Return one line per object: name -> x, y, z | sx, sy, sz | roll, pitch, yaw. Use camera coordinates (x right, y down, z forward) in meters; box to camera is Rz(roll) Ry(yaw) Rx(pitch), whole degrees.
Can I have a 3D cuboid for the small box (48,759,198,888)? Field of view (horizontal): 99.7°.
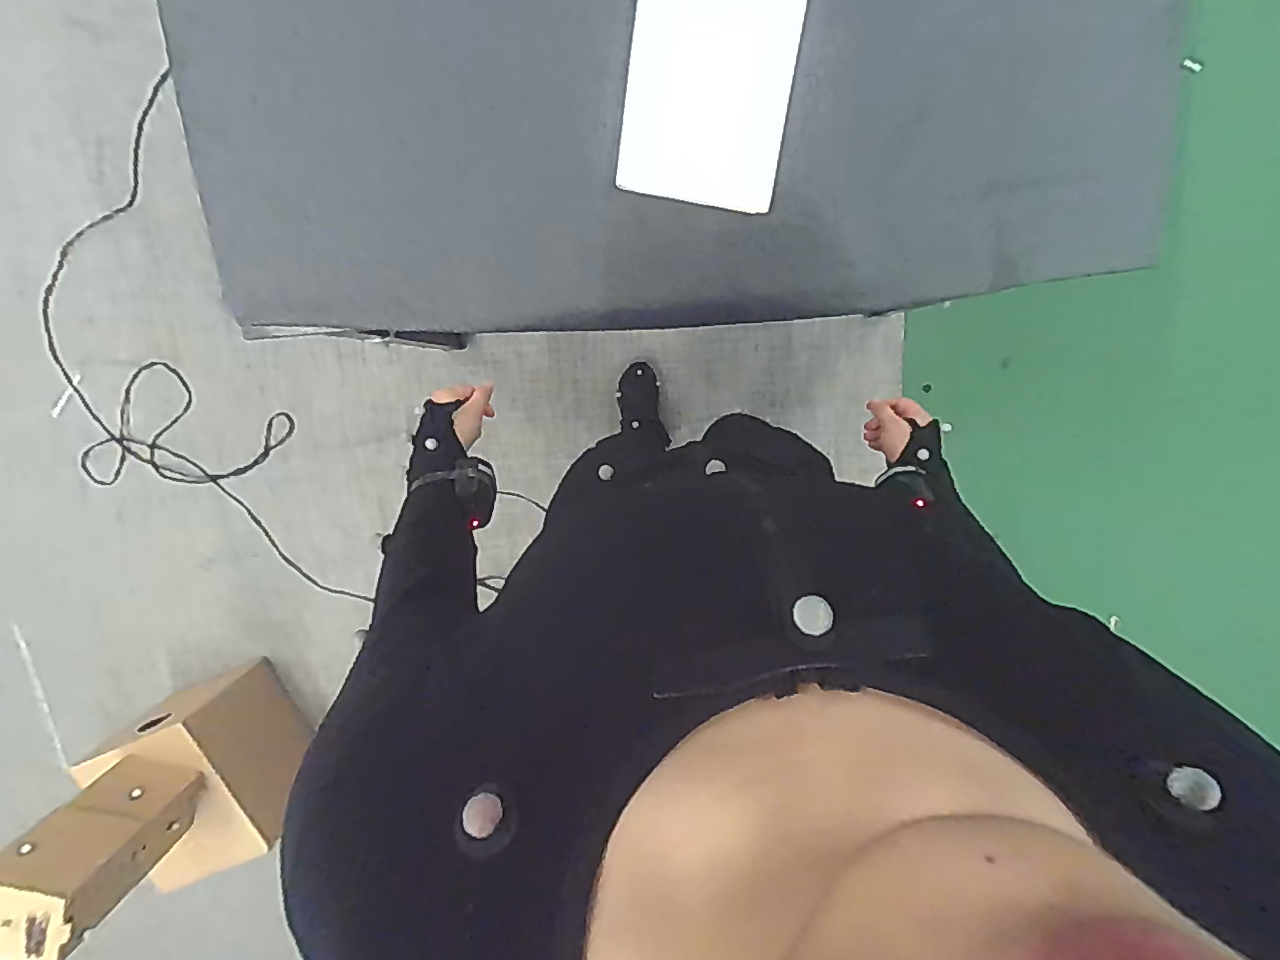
small box -> -1.147, 0.762, 1.214 | 0.179, 0.176, 0.168 | 16, 100, -7
